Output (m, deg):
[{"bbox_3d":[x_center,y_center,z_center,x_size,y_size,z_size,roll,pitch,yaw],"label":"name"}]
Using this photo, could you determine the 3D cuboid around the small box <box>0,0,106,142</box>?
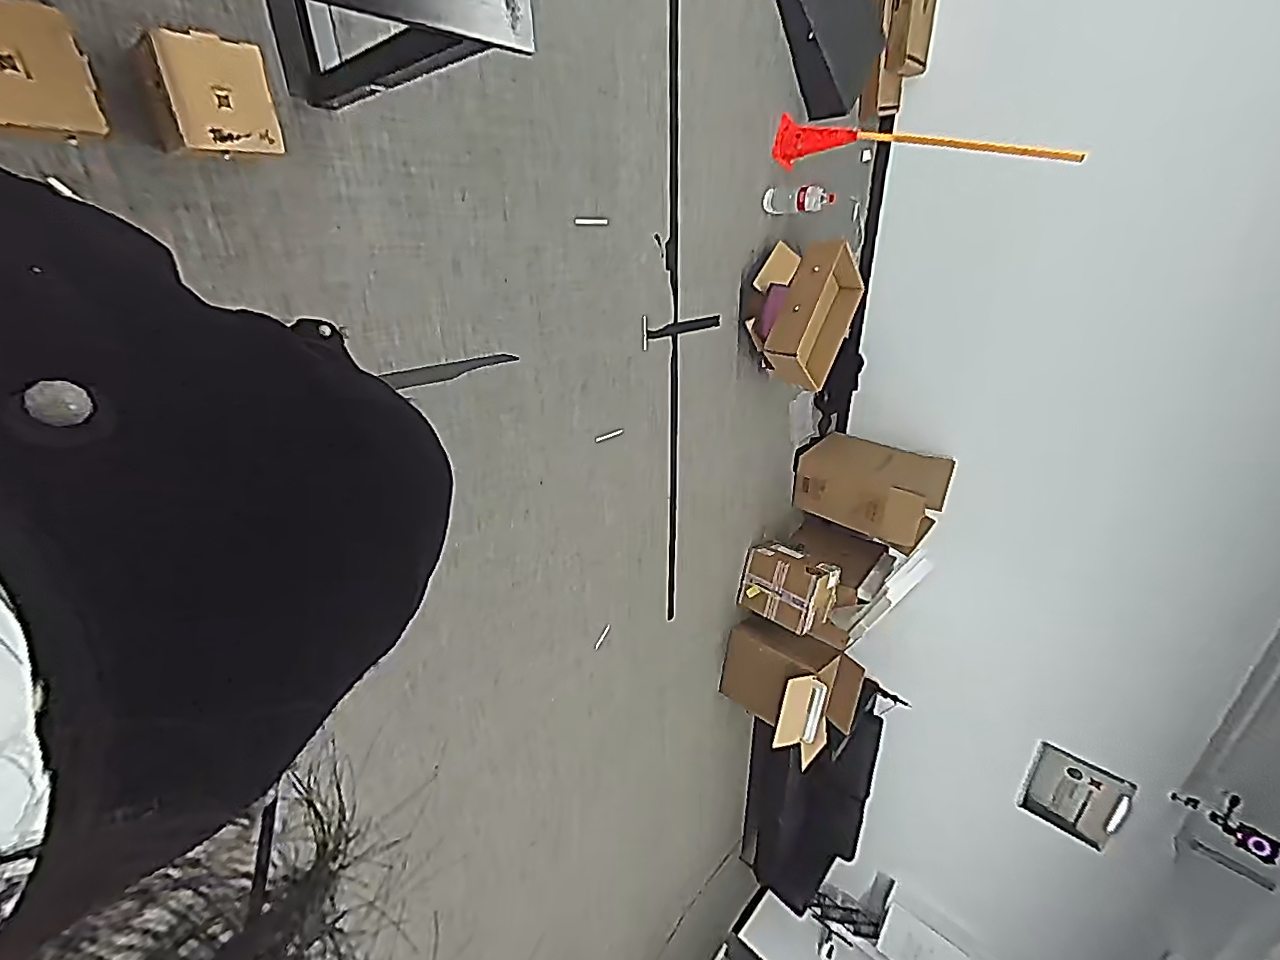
[{"bbox_3d":[-1.001,-0.643,0.853,0.179,0.176,0.168,-25,123,-41],"label":"small box"}]

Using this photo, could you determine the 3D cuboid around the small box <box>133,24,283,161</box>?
[{"bbox_3d":[-0.821,-0.721,1.028,0.168,0.176,0.179,-26,124,-41],"label":"small box"}]
